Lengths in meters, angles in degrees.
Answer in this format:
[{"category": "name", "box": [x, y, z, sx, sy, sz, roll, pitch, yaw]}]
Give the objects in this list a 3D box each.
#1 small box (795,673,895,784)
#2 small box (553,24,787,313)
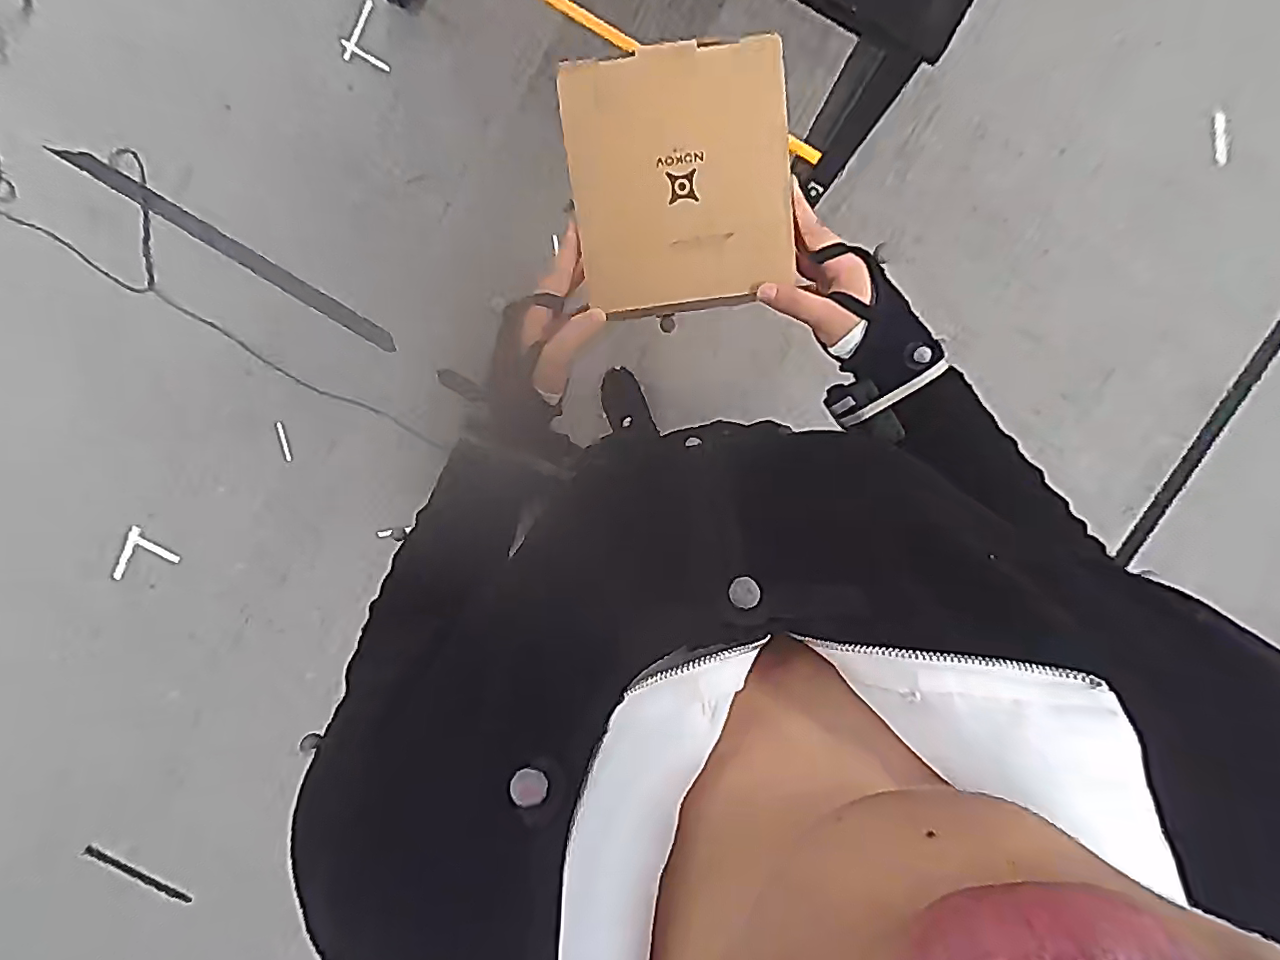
[{"category": "small box", "box": [0.544, 0.668, 1.473, 0.168, 0.176, 0.179, 43, 97, -4]}, {"category": "small box", "box": [0.023, -0.253, 0.484, 0.168, 0.176, 0.179, -8, 105, 0]}]
